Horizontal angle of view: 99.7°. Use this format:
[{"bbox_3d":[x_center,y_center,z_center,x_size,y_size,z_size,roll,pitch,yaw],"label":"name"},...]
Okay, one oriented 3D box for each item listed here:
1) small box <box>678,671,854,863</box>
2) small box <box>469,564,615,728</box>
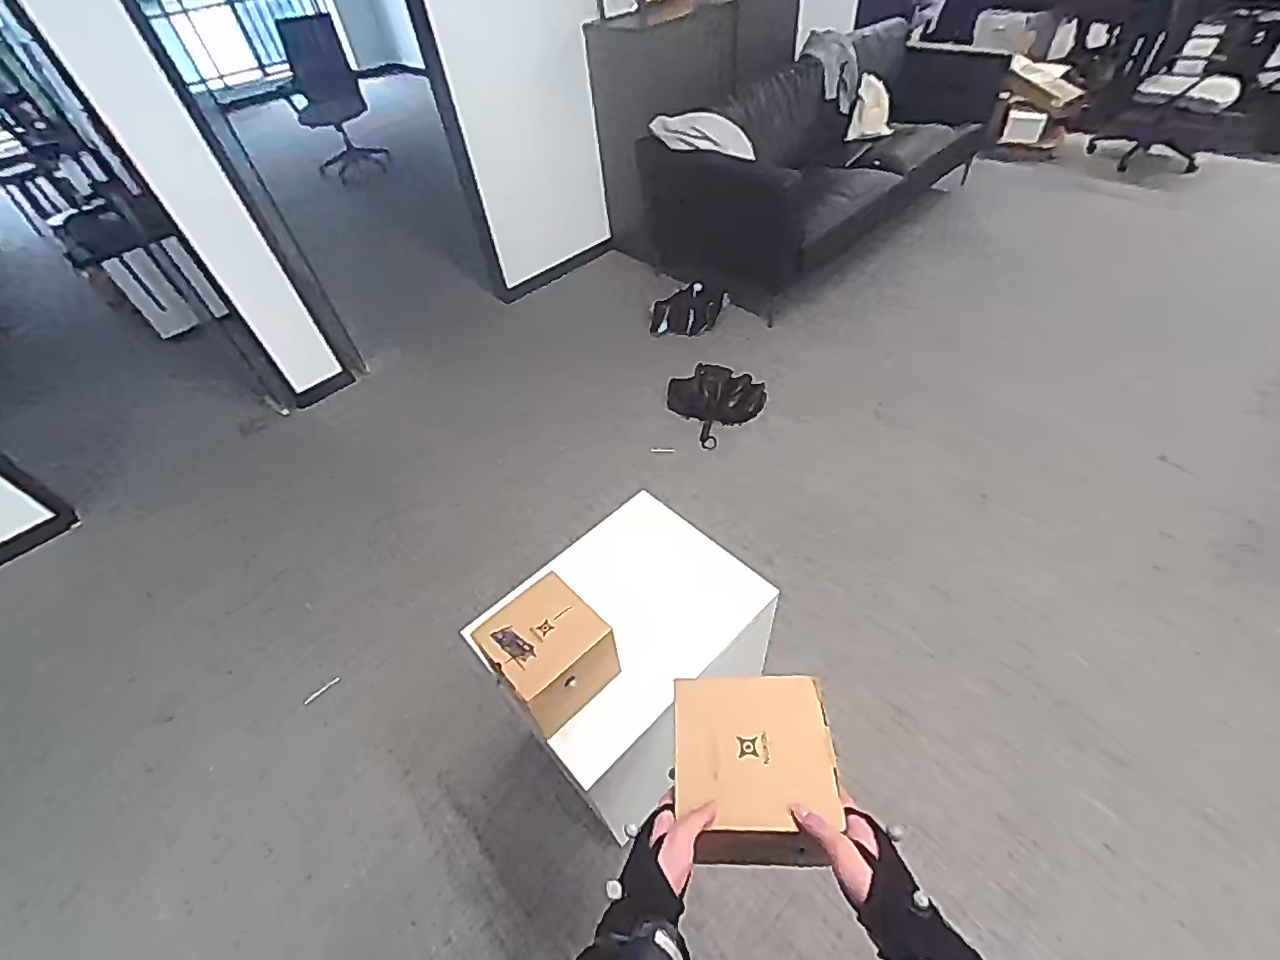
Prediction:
[{"bbox_3d":[0.139,0.348,0.655,0.179,0.176,0.168,-4,44,6],"label":"small box"},{"bbox_3d":[-0.158,0.287,0.928,0.179,0.176,0.168,-36,56,-27],"label":"small box"}]
